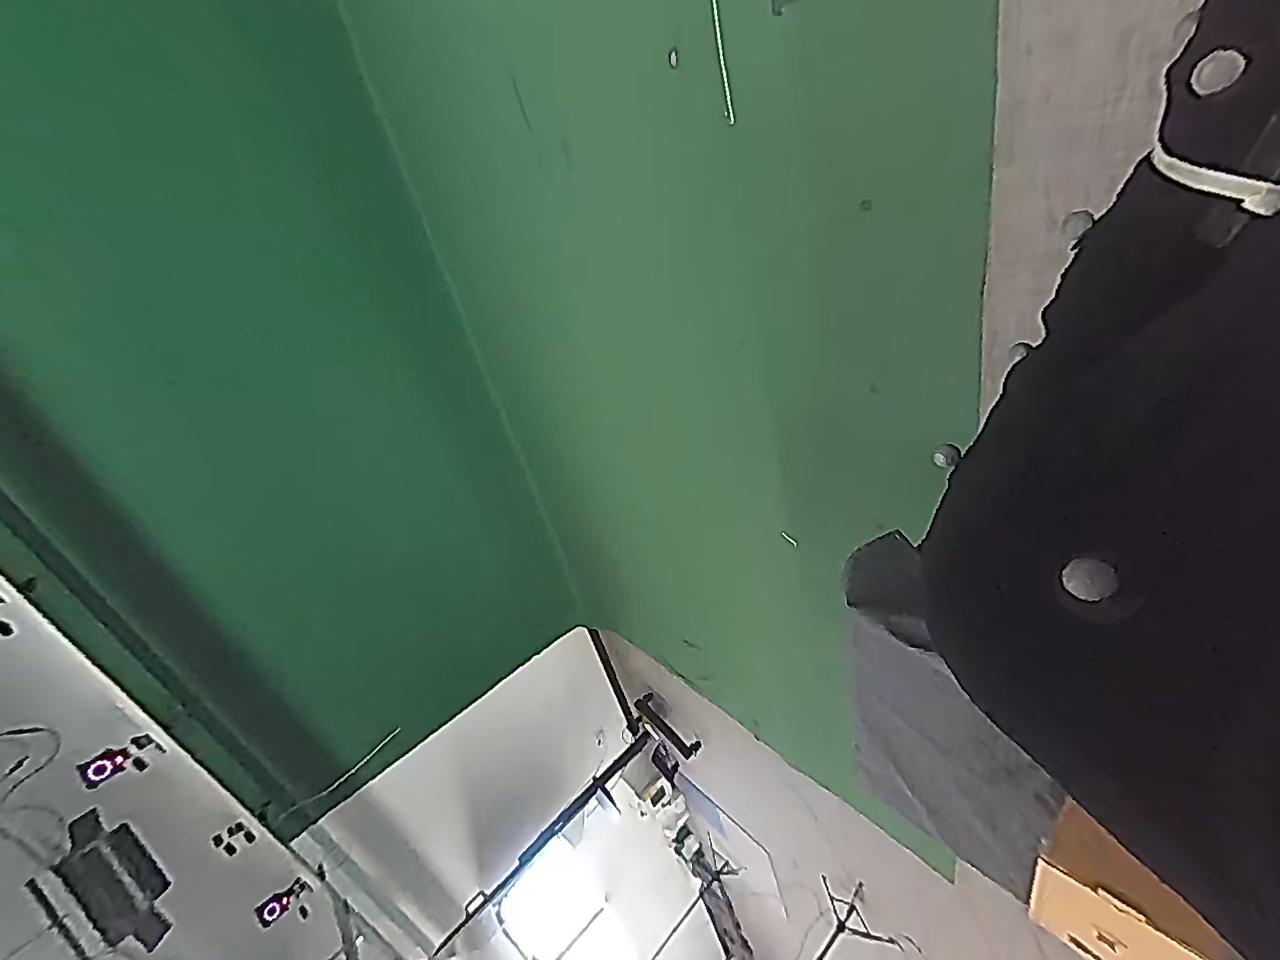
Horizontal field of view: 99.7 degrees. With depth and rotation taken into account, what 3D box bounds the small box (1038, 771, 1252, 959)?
[{"bbox_3d":[0.661,0.534,0.715,0.168,0.176,0.179,19,134,48],"label":"small box"}]
